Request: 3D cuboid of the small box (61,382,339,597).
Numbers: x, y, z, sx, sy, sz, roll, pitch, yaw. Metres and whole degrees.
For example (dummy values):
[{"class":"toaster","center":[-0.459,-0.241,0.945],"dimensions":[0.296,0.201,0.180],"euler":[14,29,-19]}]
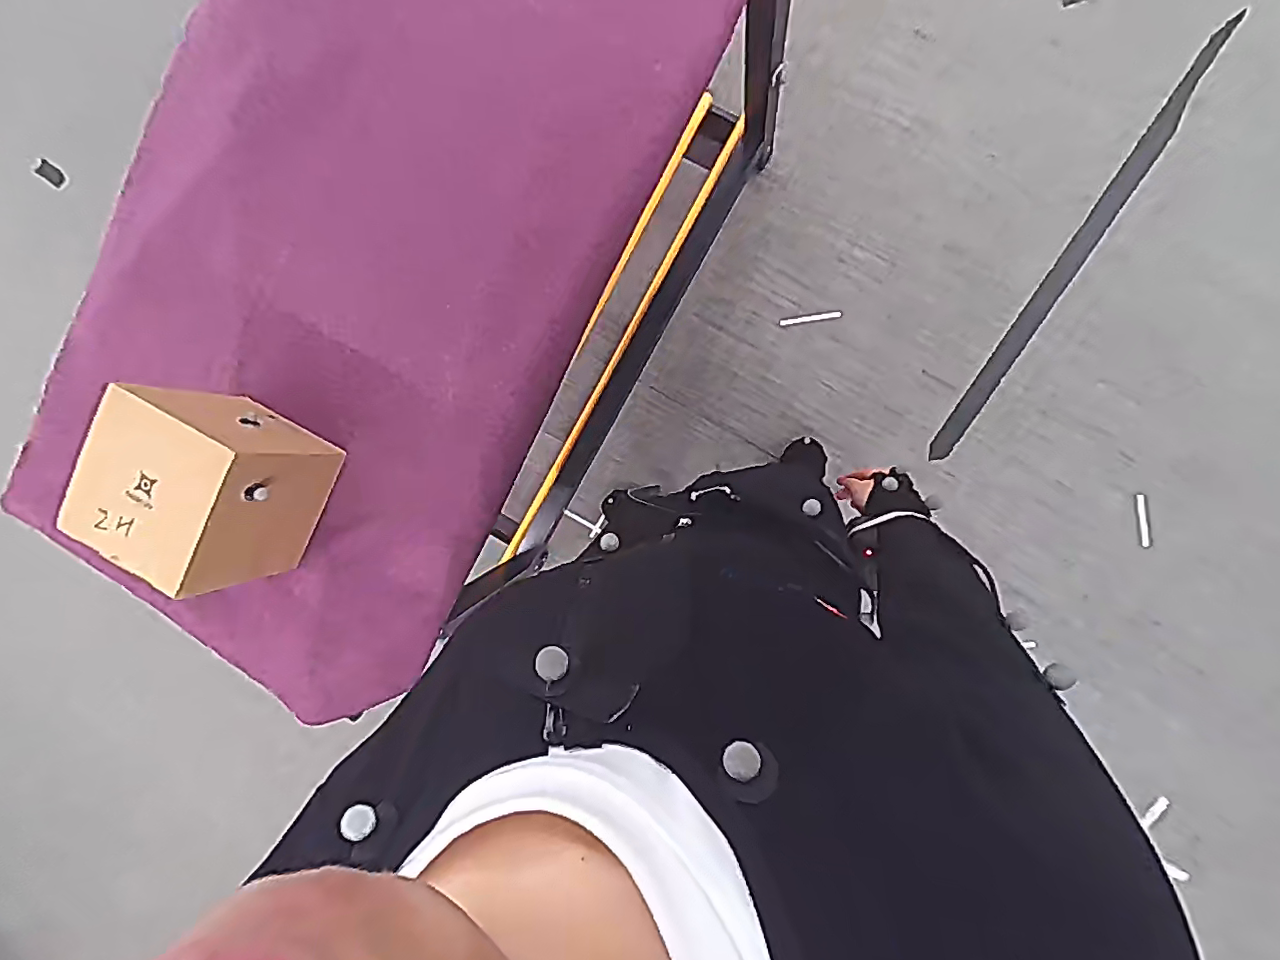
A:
[{"class":"small box","center":[-0.500,0.007,0.642],"dimensions":[0.168,0.176,0.179],"euler":[28,96,7]}]
